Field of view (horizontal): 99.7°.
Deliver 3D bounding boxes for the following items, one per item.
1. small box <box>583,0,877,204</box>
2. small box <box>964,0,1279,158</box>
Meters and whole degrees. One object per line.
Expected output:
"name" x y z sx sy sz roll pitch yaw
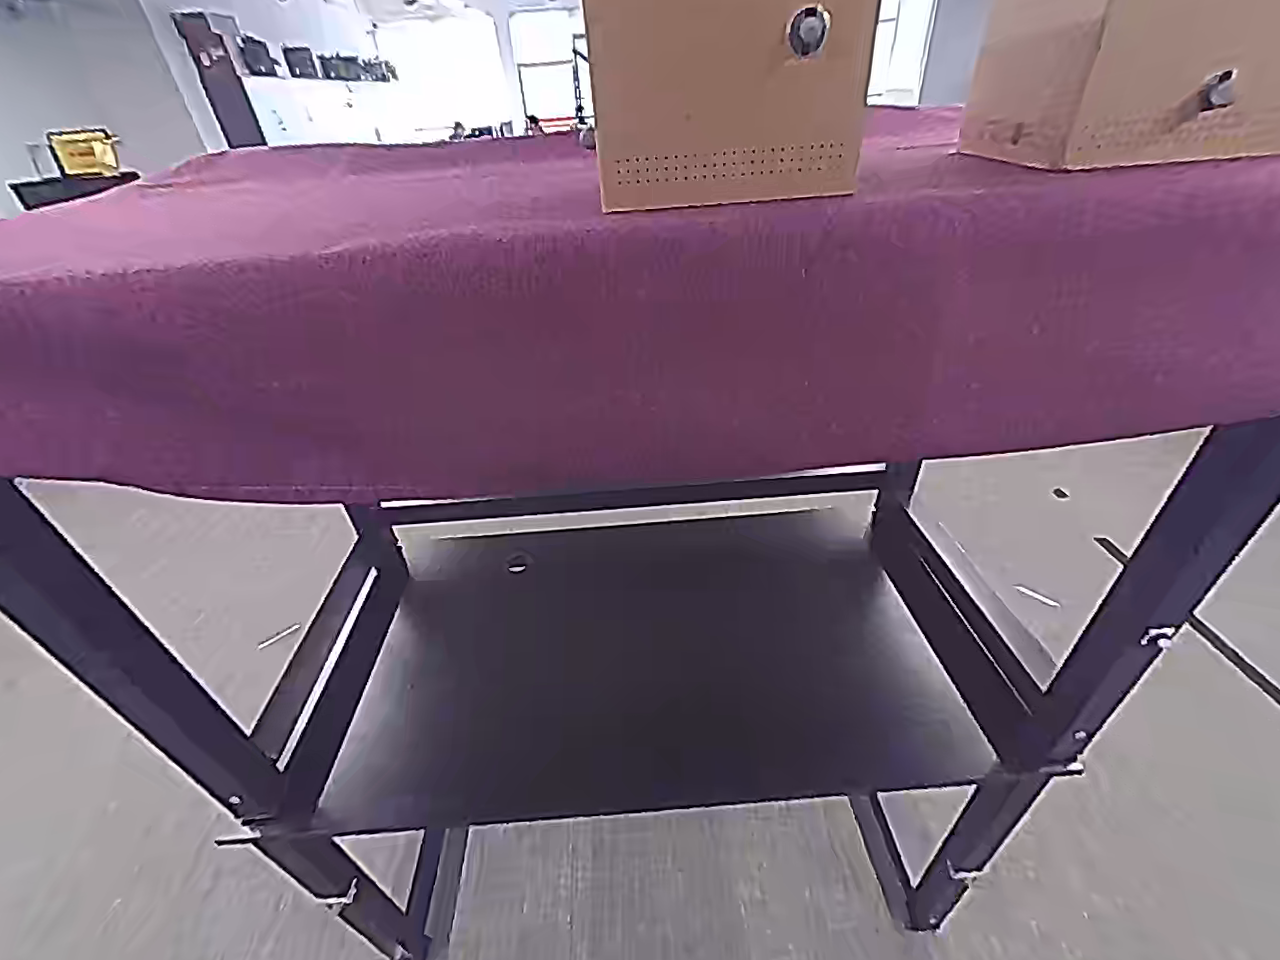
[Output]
"small box" 0.055 -0.307 0.386 0.179 0.176 0.168 -4 35 2
"small box" 0.376 -0.343 0.391 0.179 0.176 0.168 -2 35 4
